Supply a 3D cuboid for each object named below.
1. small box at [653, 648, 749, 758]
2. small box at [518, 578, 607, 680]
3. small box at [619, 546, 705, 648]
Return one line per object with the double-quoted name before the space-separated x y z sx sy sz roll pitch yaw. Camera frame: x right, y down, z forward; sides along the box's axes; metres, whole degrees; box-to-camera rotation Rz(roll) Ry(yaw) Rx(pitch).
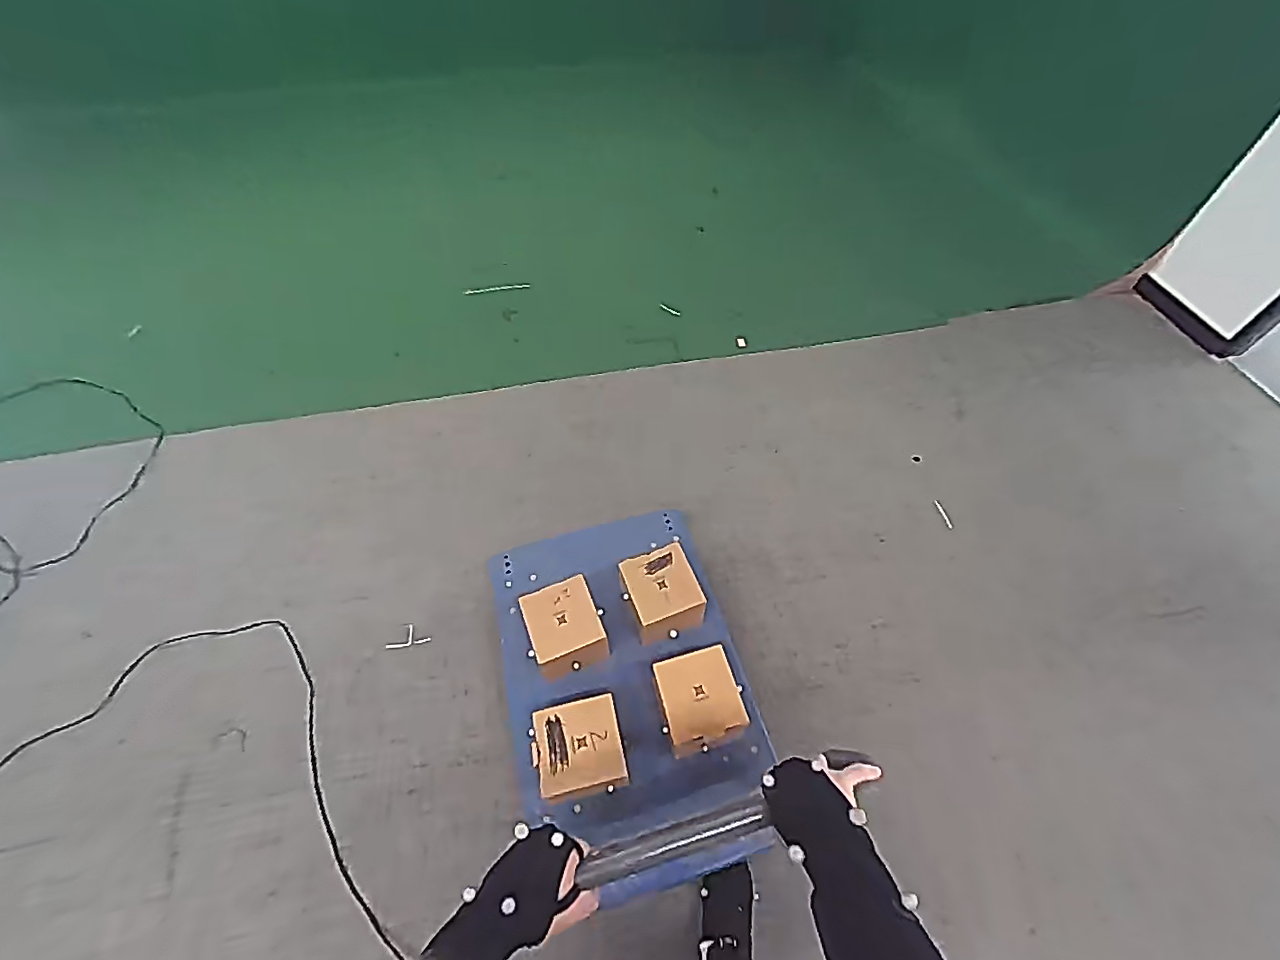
"small box" 0.129 0.512 1.237 0.168 0.176 0.179 -14 56 -8
"small box" -0.186 0.376 1.336 0.168 0.176 0.179 -19 57 -13
"small box" 0.051 0.302 1.384 0.168 0.176 0.179 -19 57 -11
